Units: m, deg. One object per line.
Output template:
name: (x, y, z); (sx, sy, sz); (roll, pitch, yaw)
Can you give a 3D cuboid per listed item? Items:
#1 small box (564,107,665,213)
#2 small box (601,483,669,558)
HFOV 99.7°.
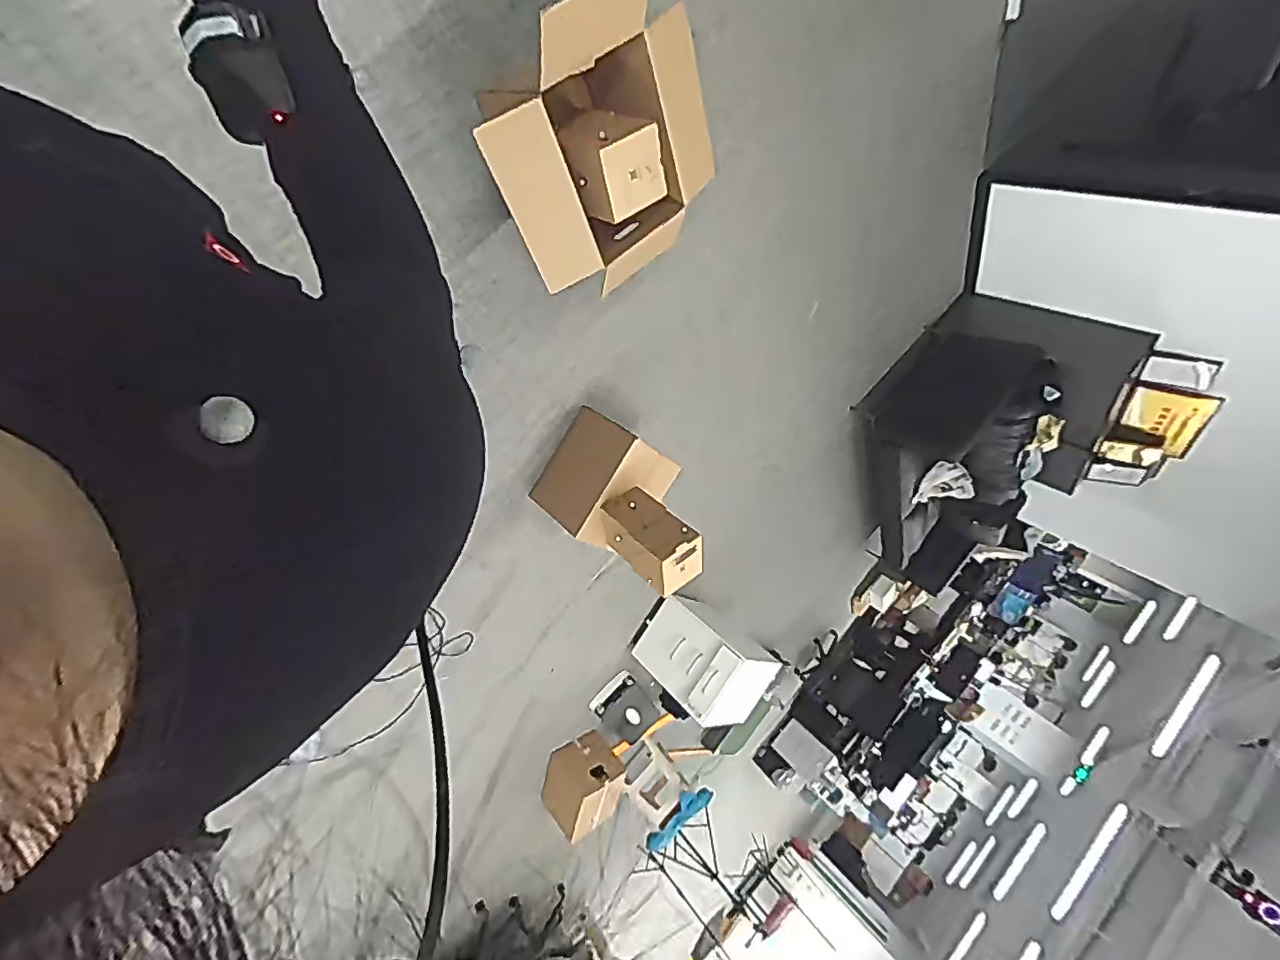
small box: (-0.067, -0.784, 1.321); (0.179, 0.176, 0.168); (-39, 143, -19)
small box: (-0.019, 0.129, 1.870); (0.168, 0.176, 0.179); (-30, 134, -27)
